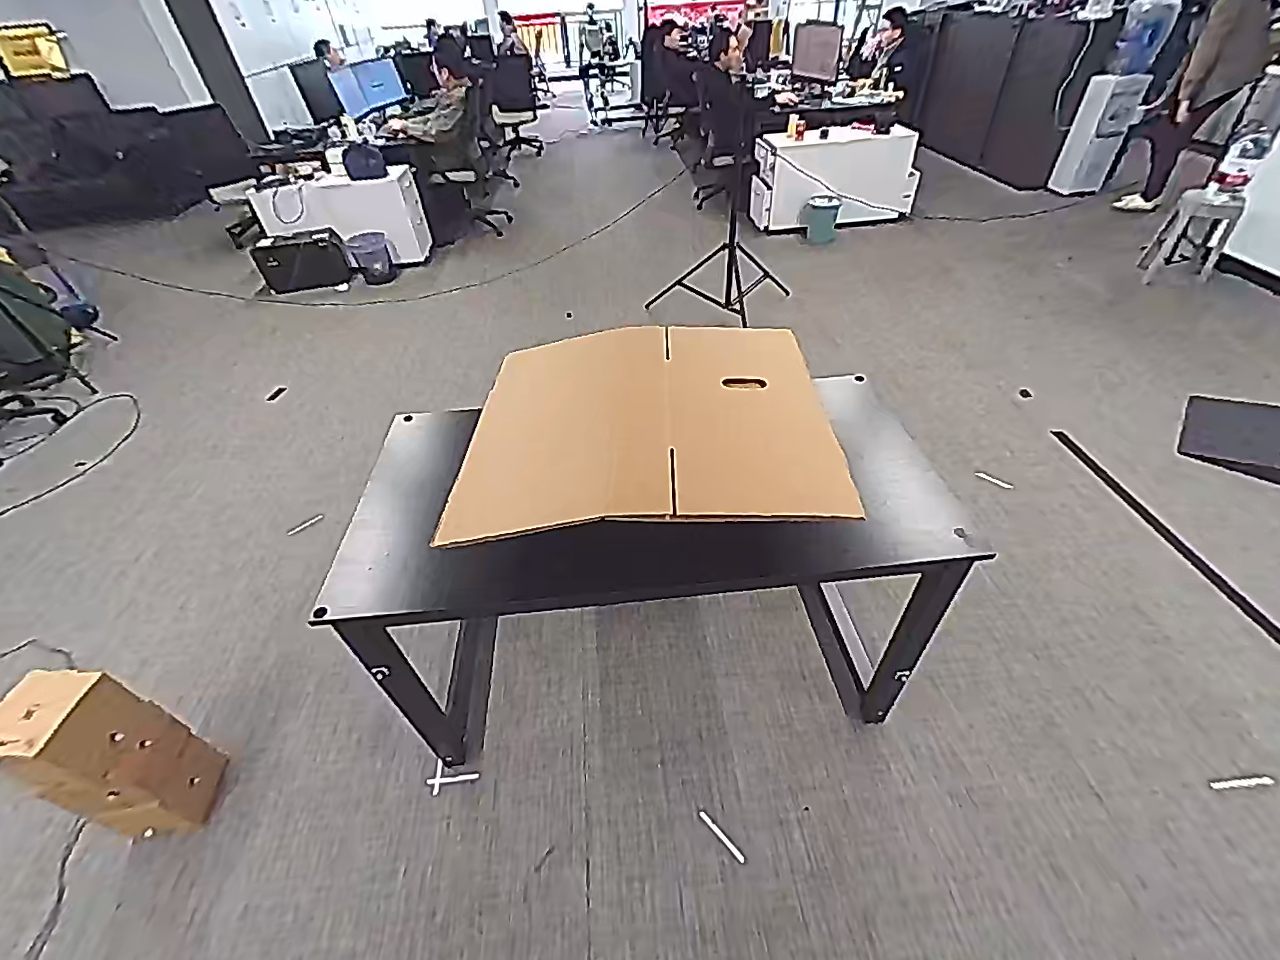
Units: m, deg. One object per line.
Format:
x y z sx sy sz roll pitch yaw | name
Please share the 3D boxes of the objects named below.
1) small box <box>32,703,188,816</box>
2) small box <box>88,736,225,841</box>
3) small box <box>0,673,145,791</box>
-1.212 0.655 1.259 0.168 0.176 0.179 -10 42 -7 | small box
-1.200 0.778 1.364 0.168 0.176 0.179 -8 44 -4 | small box
-1.219 0.534 1.148 0.168 0.176 0.179 -1 42 4 | small box
